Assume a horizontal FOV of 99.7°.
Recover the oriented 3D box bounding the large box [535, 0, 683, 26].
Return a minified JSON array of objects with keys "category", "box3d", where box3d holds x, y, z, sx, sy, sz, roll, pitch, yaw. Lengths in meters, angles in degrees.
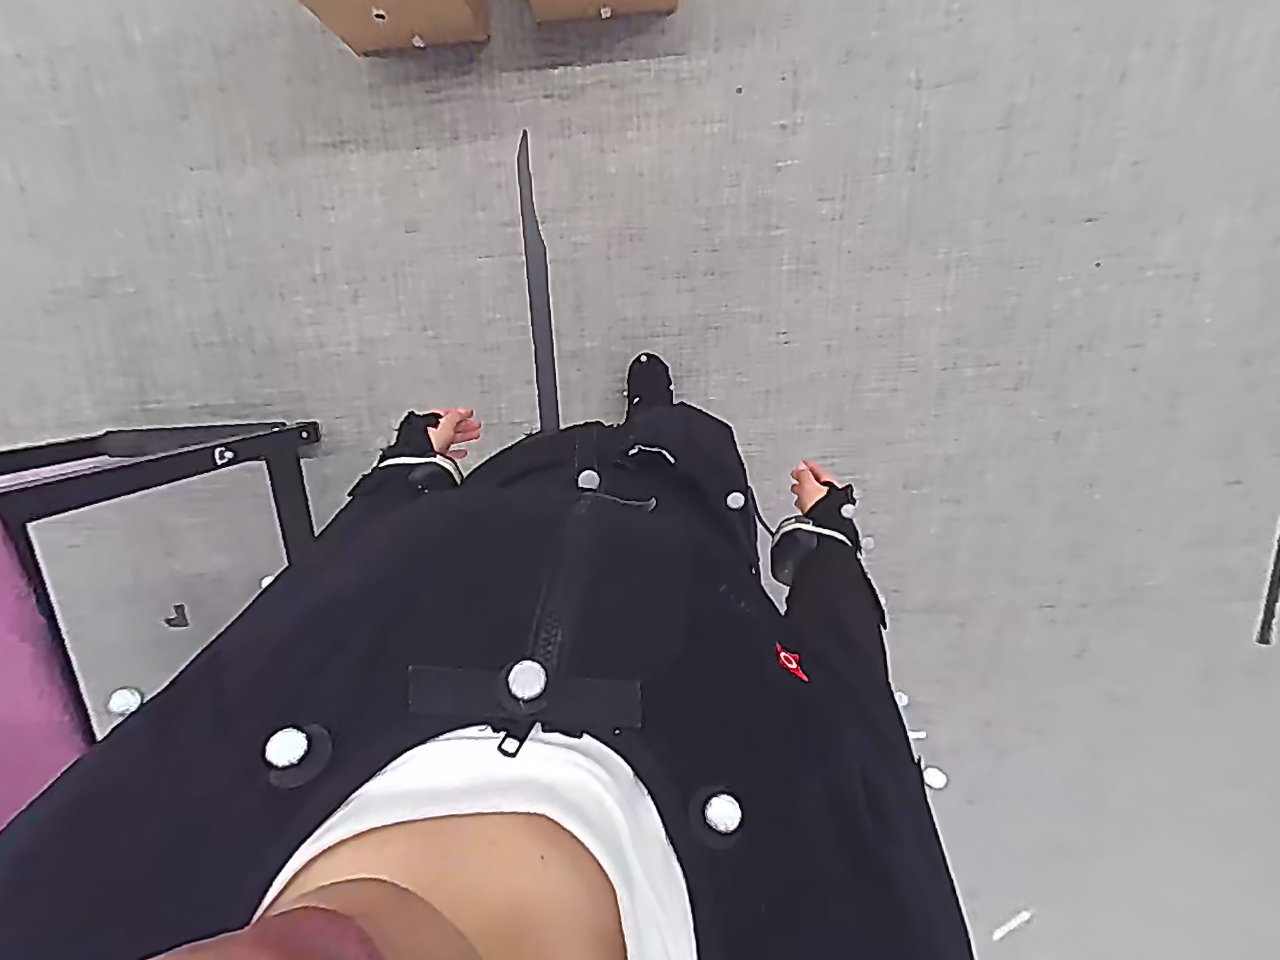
[{"category":"large box","box3d":[-0.080,-1.139,0.965,0.320,0.320,0.408,-4,104,4]}]
